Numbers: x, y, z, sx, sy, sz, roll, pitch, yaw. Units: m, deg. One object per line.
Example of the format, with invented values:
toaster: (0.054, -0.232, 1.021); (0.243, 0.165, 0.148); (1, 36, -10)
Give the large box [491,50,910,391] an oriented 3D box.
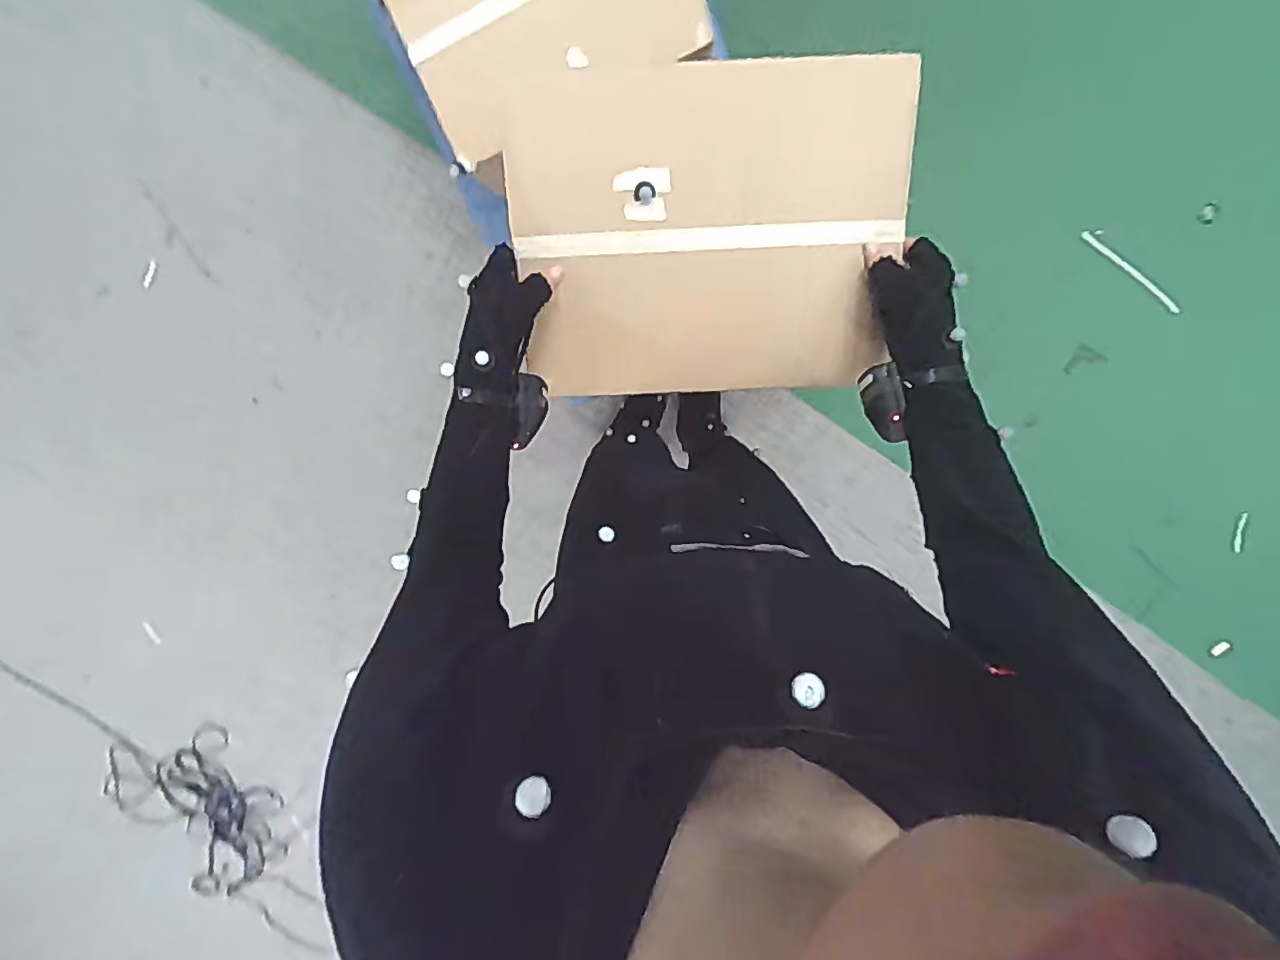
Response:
large box: (0.063, -0.300, 0.695); (0.408, 0.320, 0.320); (-1, 109, 1)
